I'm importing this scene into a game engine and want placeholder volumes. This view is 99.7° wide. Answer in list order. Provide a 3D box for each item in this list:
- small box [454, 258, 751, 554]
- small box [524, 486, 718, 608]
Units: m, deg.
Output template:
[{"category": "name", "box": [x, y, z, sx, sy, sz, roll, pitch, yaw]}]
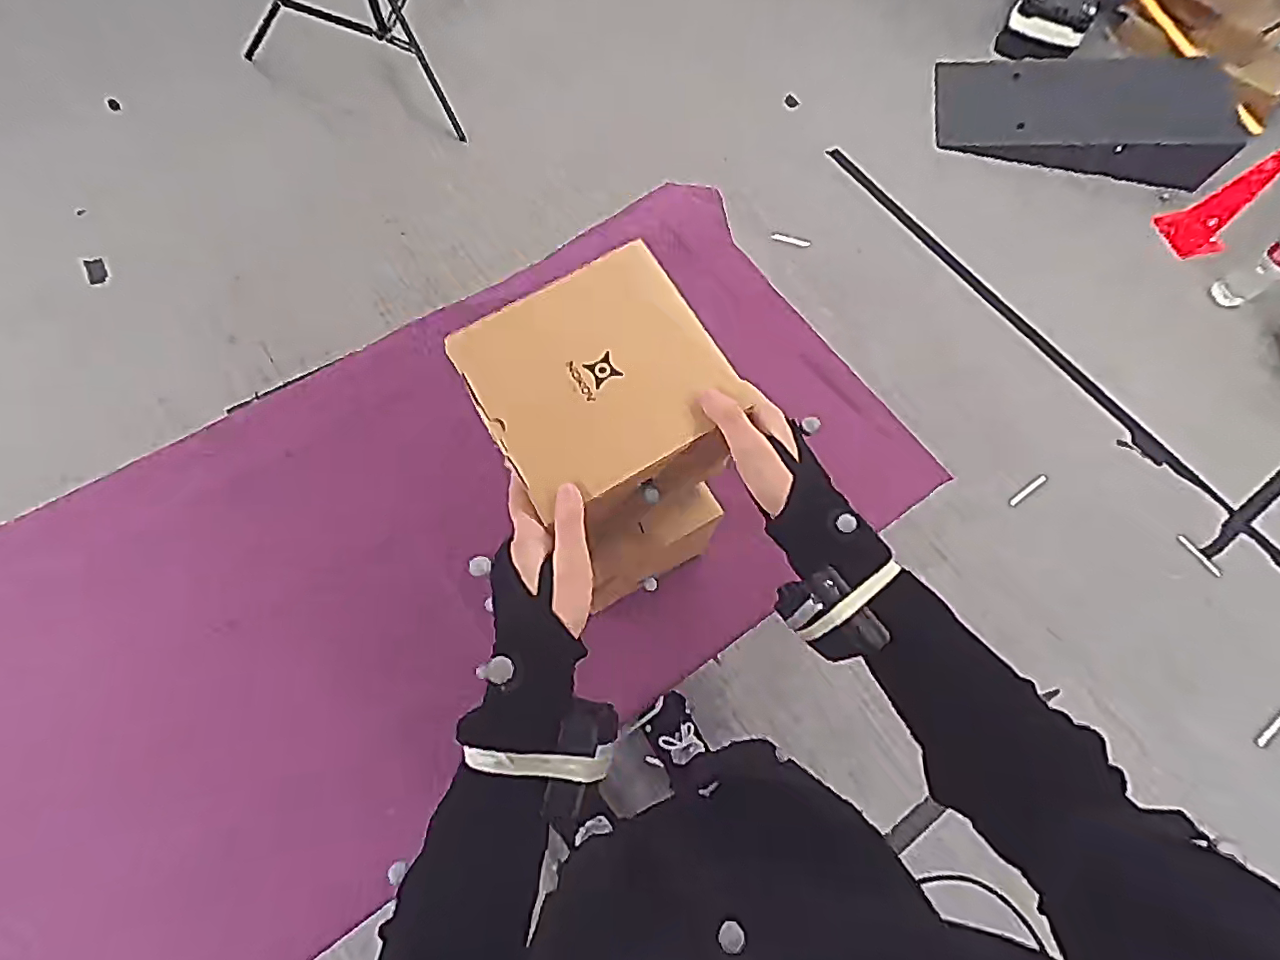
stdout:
[{"category": "small box", "box": [-0.030, -0.051, 0.485, 0.179, 0.176, 0.168, -31, 76, -6]}, {"category": "small box", "box": [-0.033, 0.032, 0.643, 0.168, 0.176, 0.179, -28, 73, -12]}]
